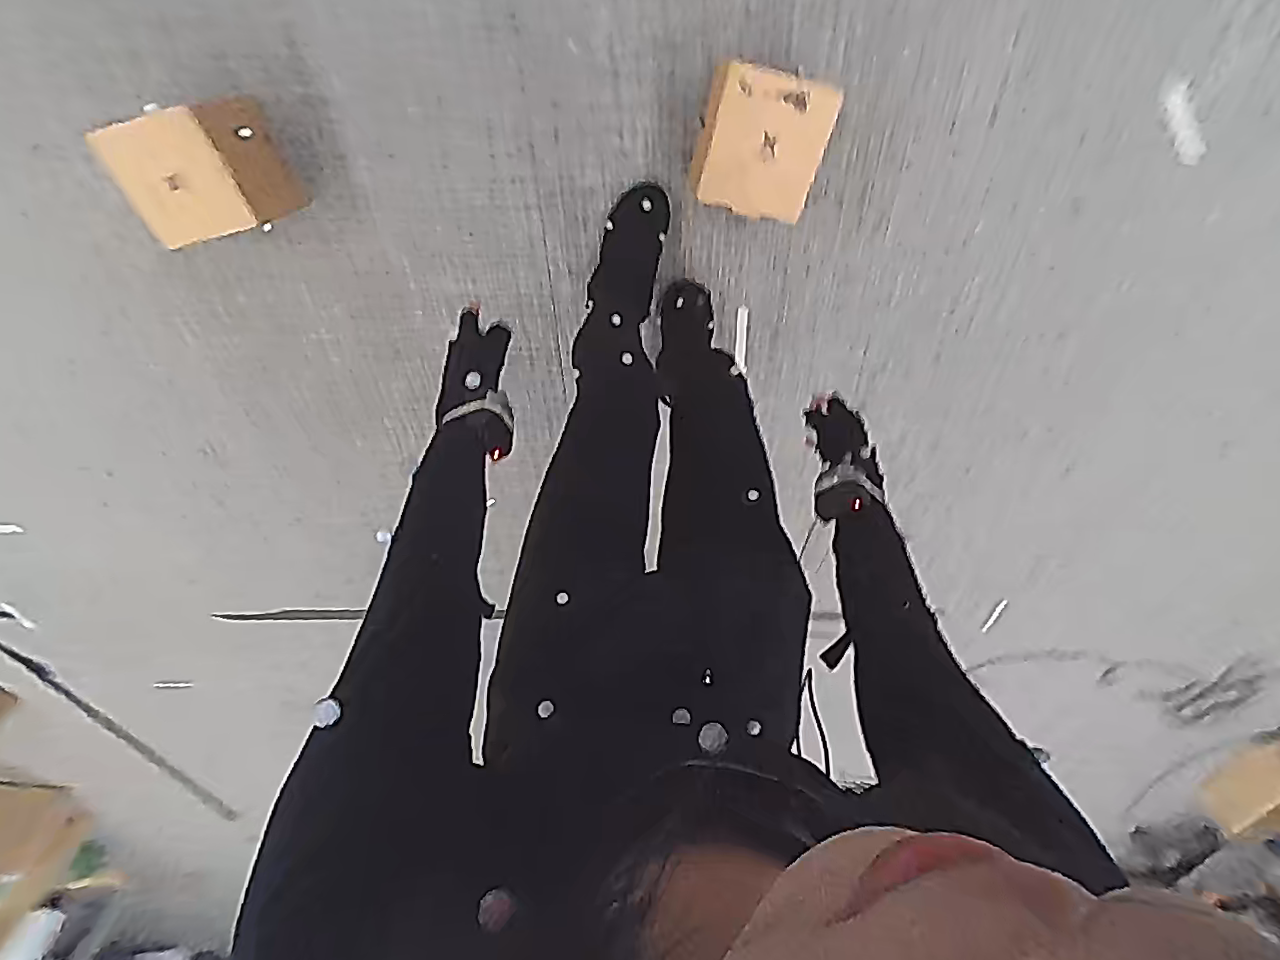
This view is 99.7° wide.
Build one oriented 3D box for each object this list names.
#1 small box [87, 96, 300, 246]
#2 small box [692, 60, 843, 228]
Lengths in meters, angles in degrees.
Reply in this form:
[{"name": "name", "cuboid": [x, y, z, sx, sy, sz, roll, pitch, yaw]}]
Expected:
[{"name": "small box", "cuboid": [-0.691, -0.500, 0.871, 0.179, 0.176, 0.168, -9, 126, 9]}, {"name": "small box", "cuboid": [0.183, -0.525, 0.843, 0.168, 0.176, 0.179, 10, 129, -9]}]
